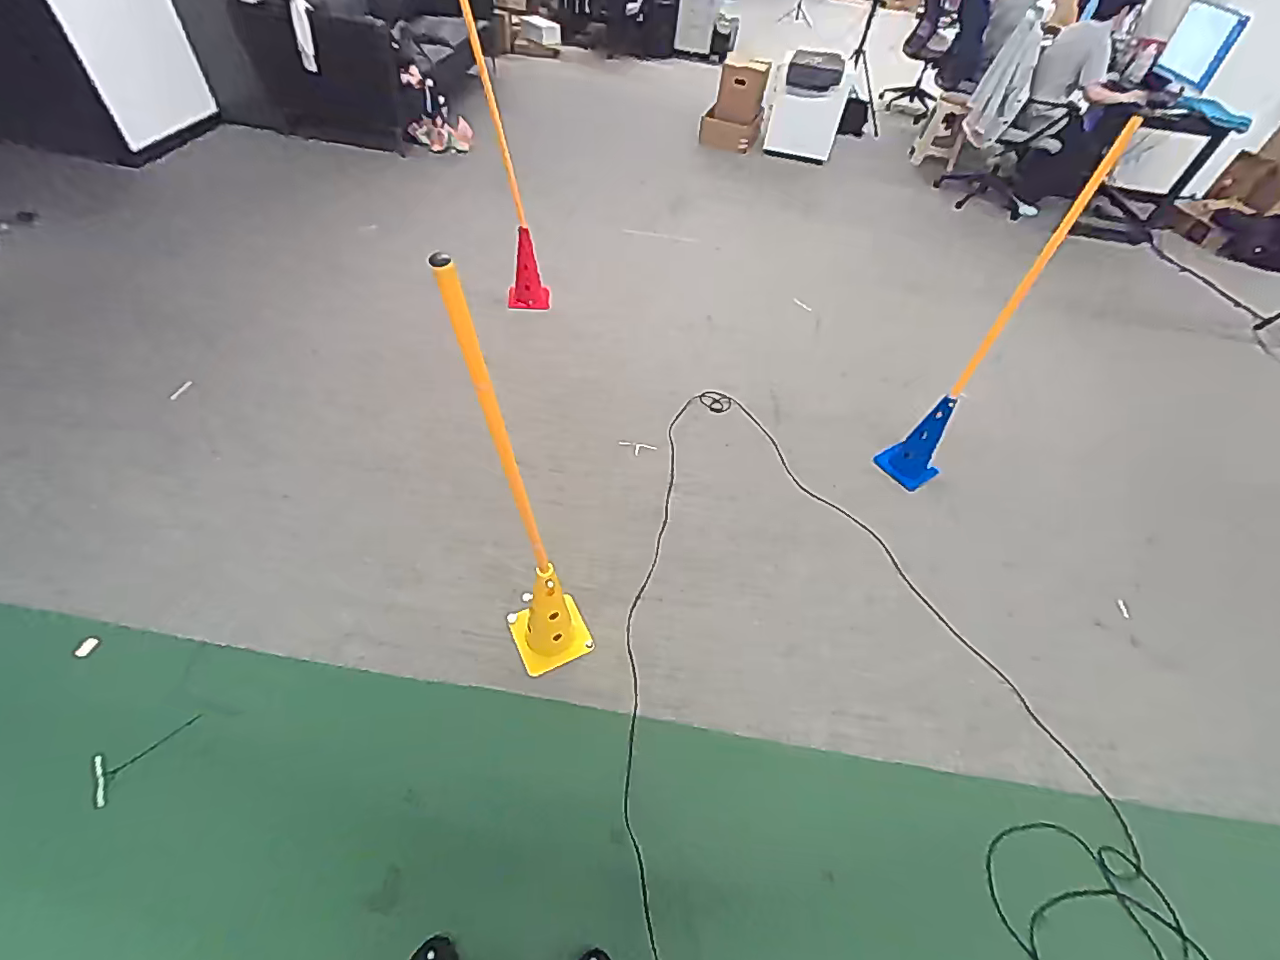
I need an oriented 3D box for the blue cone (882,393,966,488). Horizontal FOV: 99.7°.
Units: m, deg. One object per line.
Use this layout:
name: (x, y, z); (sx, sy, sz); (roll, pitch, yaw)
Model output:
blue cone: (1.078, -0.168, 1.996); (0.193, 0.380, 0.192); (-26, 56, -27)
